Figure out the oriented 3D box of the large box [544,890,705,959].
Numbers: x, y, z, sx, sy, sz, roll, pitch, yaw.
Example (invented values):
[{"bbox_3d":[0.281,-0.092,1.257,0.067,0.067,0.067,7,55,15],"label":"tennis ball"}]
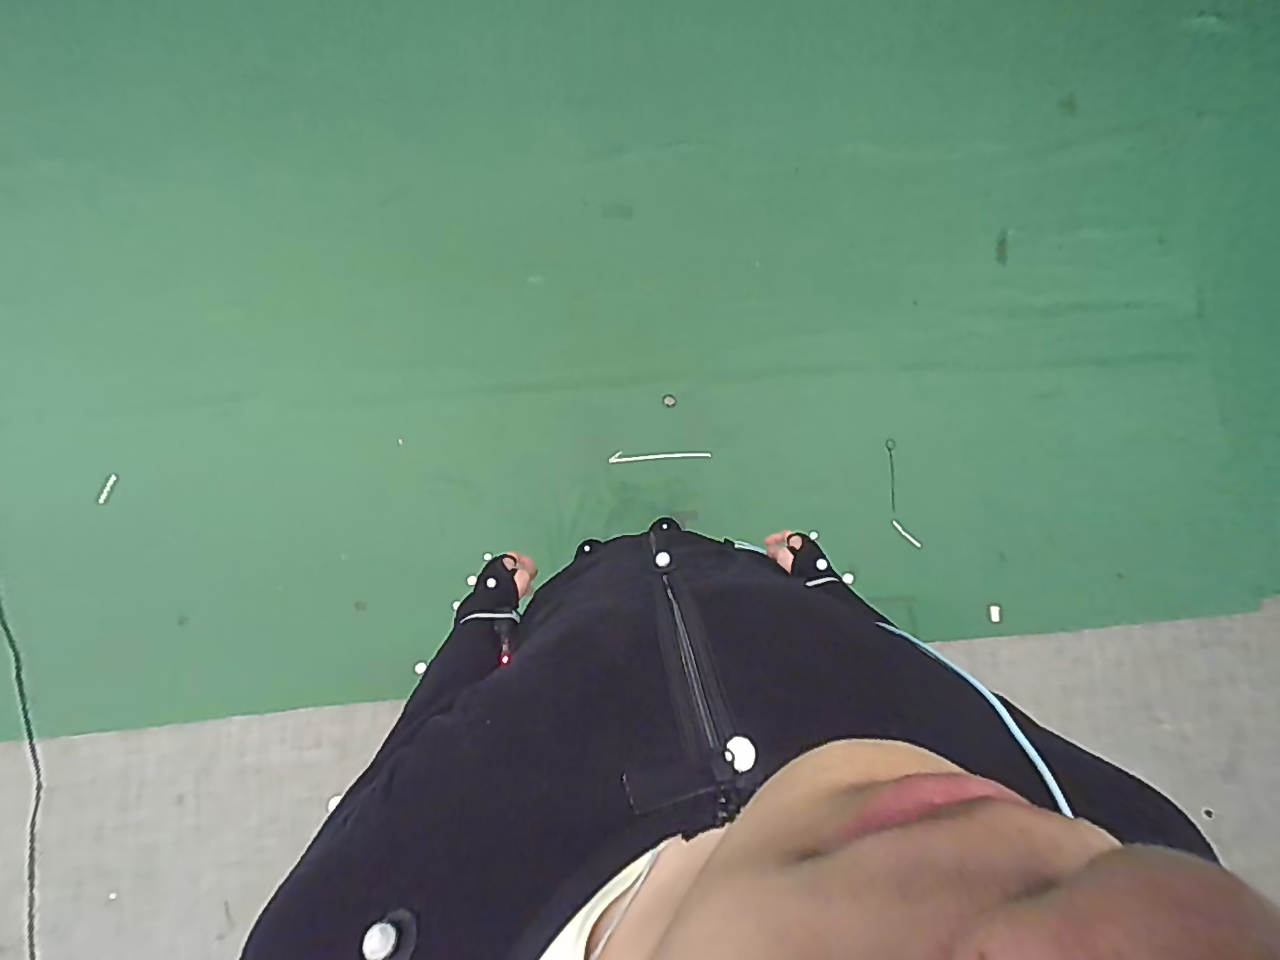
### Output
[{"bbox_3d":[-0.030,1.341,1.388,0.408,0.320,0.320,-6,85,-5],"label":"large box"}]
